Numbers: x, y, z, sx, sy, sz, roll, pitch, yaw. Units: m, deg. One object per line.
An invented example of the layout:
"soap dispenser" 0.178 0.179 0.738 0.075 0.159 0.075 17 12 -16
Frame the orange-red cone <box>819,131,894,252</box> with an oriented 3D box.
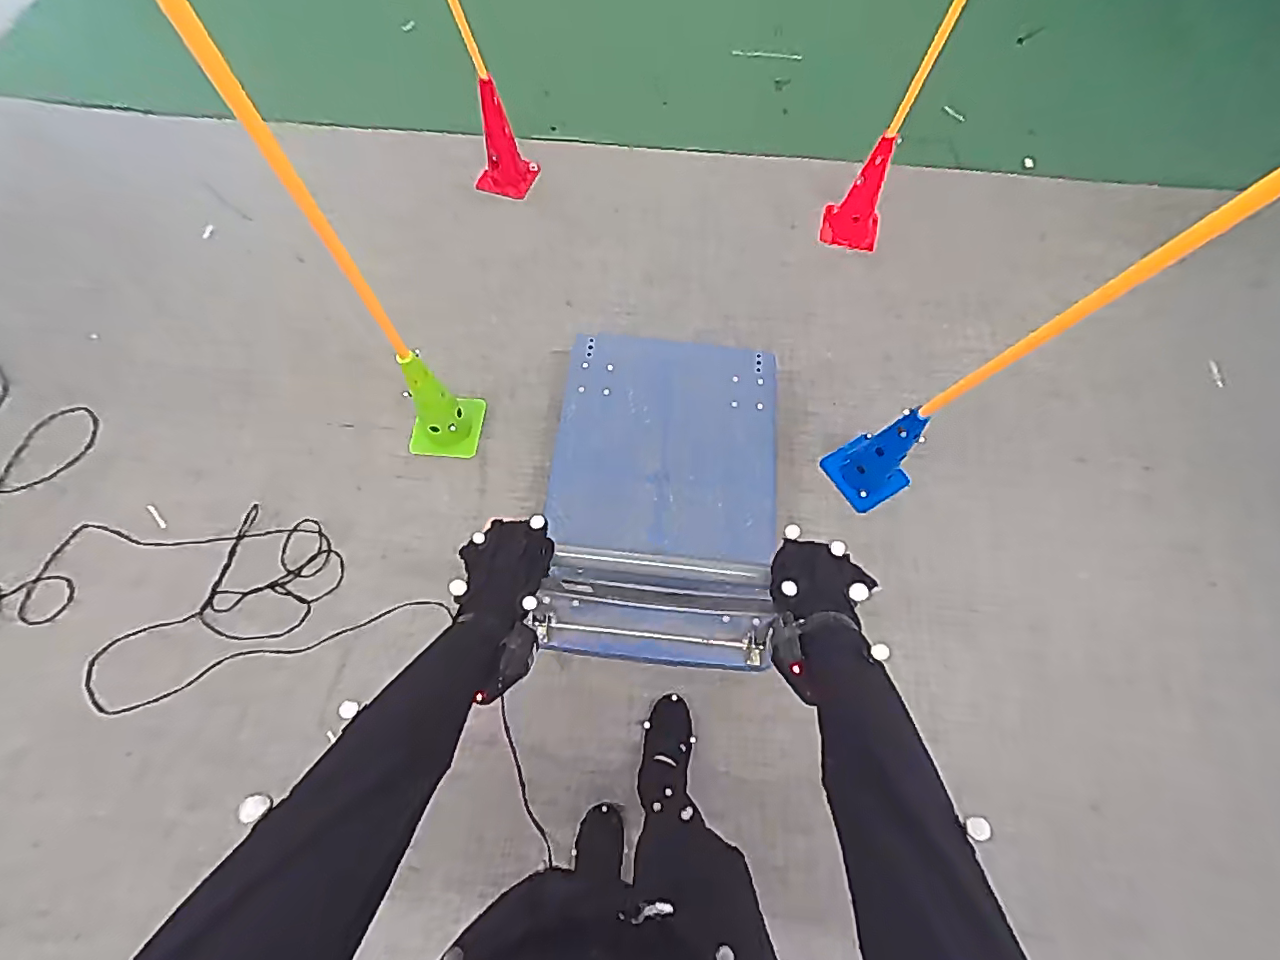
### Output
"orange-red cone" 0.759 -0.980 1.808 0.198 0.360 0.199 15 68 7
